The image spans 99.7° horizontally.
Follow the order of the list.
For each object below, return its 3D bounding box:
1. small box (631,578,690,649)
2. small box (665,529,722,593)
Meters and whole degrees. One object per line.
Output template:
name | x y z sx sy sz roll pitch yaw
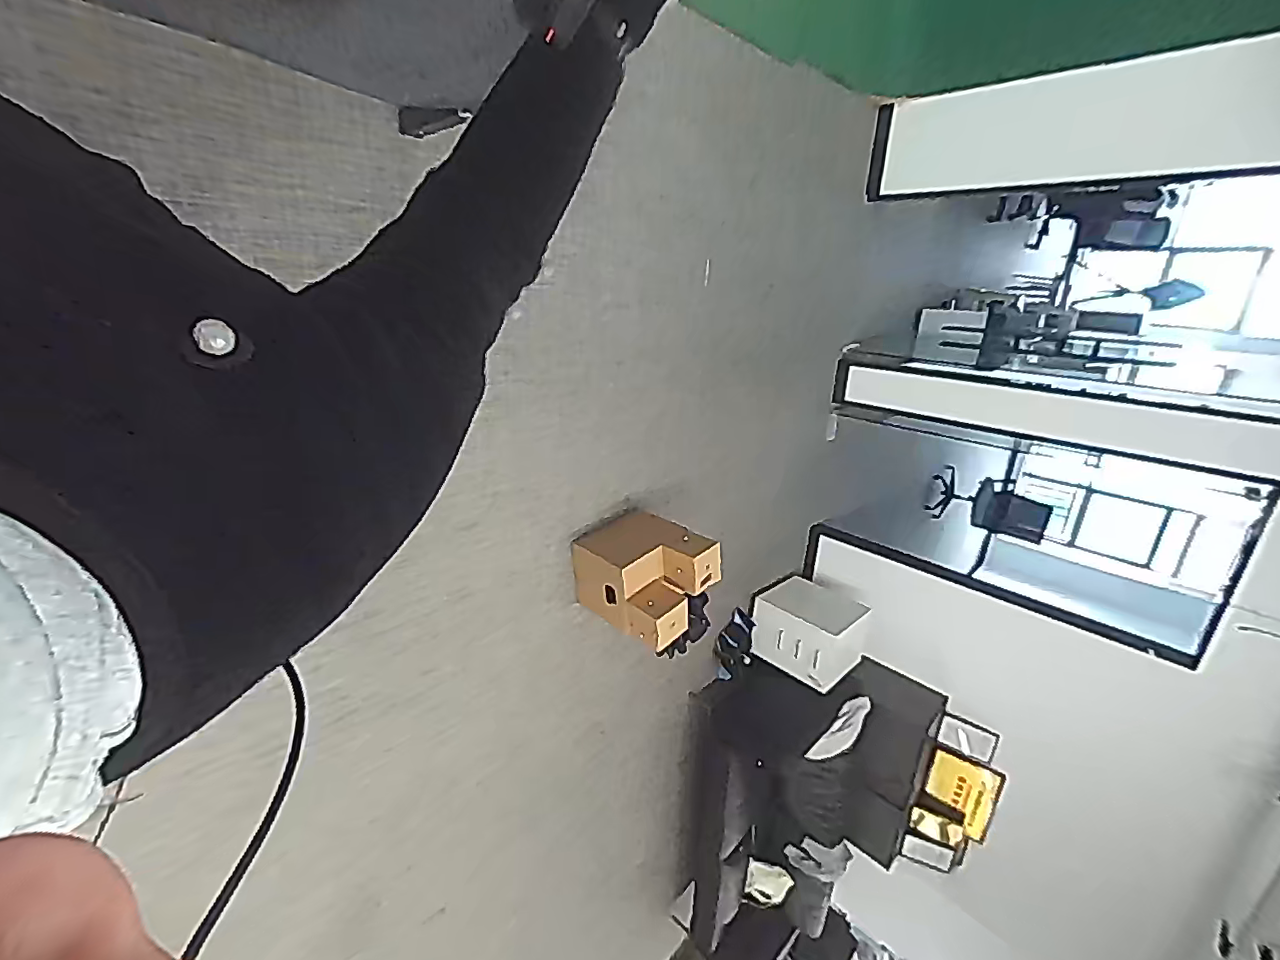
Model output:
small box | 0.076 0.519 2.124 0.179 0.176 0.168 -30 129 -38
small box | 0.216 0.324 2.197 0.168 0.176 0.179 -24 119 -40
